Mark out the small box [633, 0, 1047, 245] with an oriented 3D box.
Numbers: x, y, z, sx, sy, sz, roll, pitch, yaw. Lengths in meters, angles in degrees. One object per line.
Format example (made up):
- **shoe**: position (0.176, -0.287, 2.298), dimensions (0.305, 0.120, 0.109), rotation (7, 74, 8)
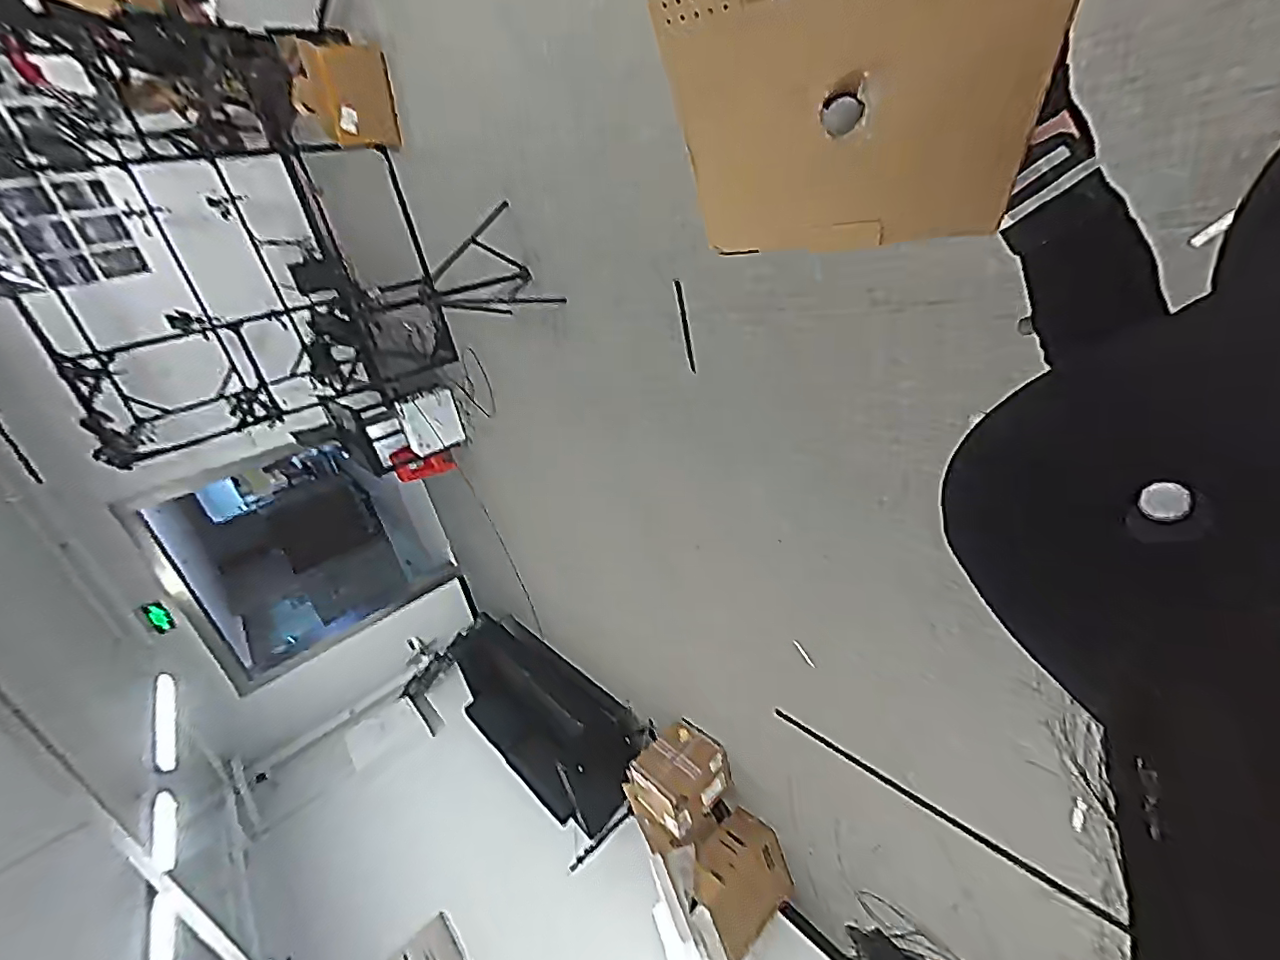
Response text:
- **small box**: position (0.102, -0.254, 0.274), dimensions (0.168, 0.179, 0.176), rotation (6, 160, 22)
